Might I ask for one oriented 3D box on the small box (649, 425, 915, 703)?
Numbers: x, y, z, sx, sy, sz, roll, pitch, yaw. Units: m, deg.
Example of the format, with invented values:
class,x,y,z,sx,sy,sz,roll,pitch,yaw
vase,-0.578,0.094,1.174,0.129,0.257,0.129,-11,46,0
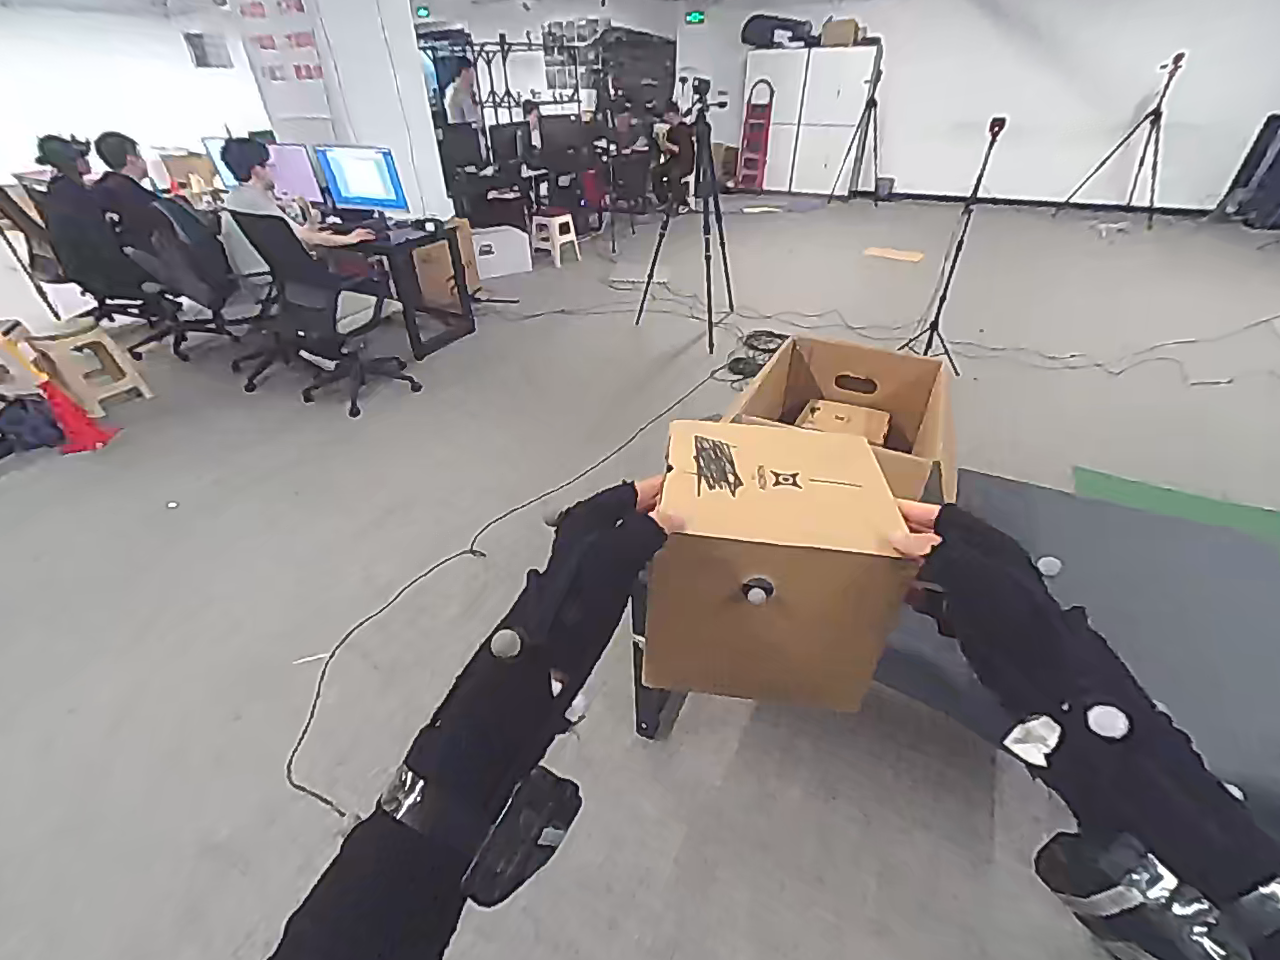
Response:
class,x,y,z,sx,sy,sz,roll,pitch,yaw
small box,0.104,0.069,0.471,0.179,0.176,0.168,6,34,4
